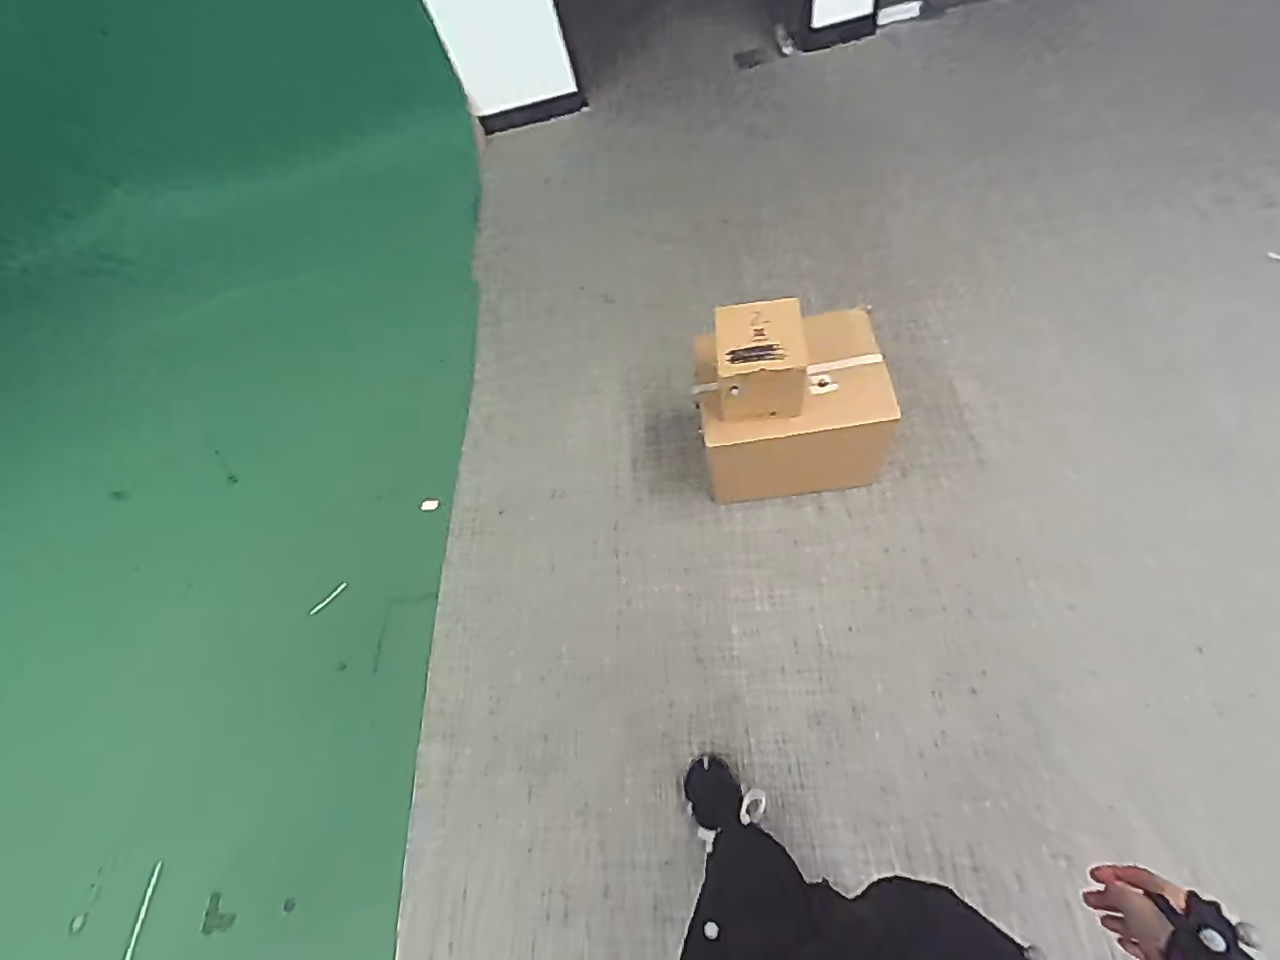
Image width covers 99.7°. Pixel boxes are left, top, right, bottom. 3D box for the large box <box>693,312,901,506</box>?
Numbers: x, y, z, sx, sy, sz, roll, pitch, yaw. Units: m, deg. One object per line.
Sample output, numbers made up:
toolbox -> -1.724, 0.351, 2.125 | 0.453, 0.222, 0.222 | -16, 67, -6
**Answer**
large box -> 0.356, -0.157, 1.325 | 0.408, 0.320, 0.320 | -8, 63, 8
